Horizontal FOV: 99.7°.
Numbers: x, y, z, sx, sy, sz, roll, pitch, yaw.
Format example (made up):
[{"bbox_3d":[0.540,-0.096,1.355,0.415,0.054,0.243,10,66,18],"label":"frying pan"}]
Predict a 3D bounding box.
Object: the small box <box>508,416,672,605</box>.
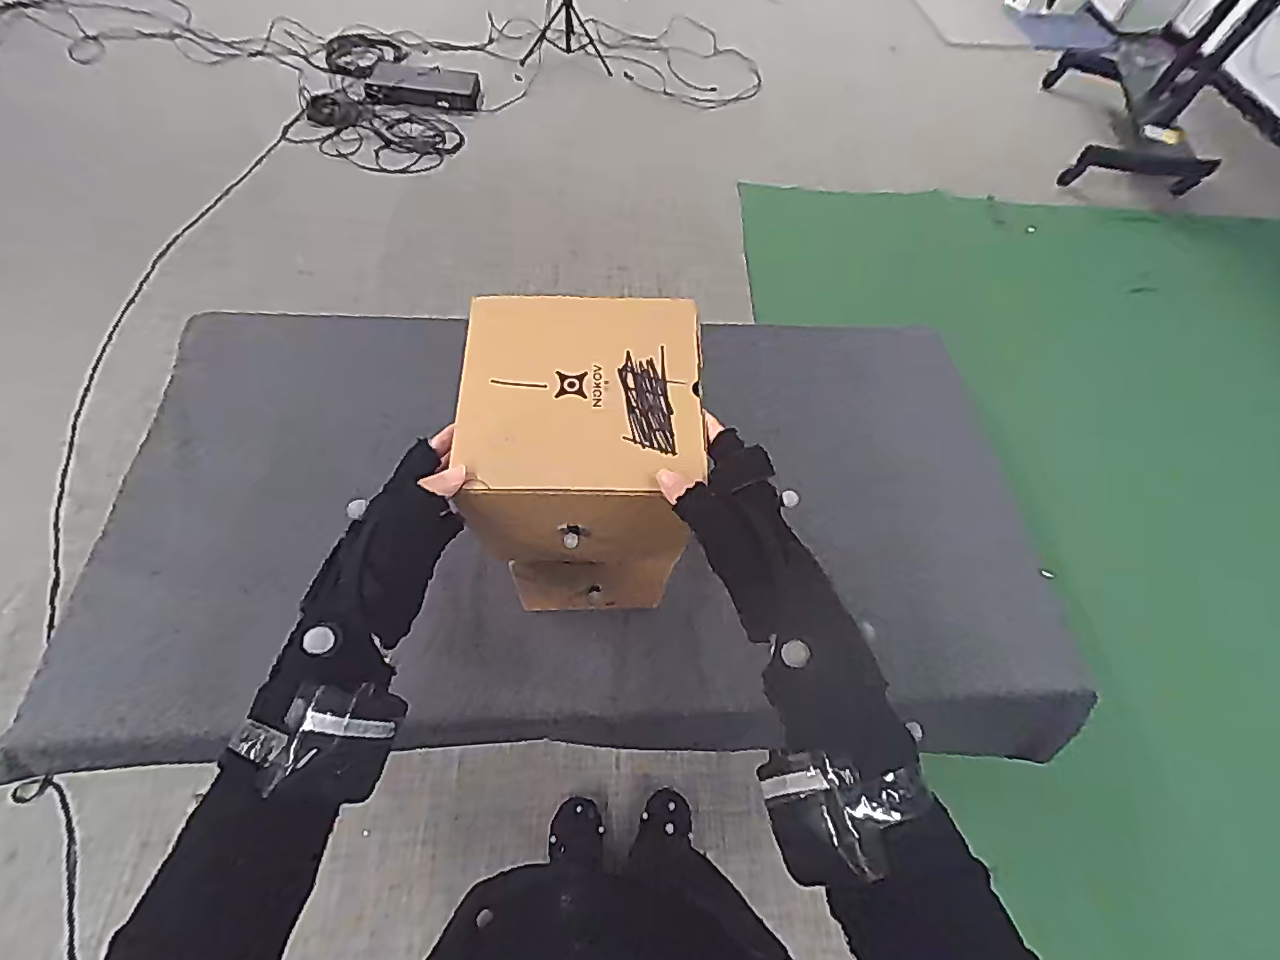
[{"bbox_3d":[-0.057,0.044,0.640,0.168,0.176,0.179,-2,61,-5],"label":"small box"}]
